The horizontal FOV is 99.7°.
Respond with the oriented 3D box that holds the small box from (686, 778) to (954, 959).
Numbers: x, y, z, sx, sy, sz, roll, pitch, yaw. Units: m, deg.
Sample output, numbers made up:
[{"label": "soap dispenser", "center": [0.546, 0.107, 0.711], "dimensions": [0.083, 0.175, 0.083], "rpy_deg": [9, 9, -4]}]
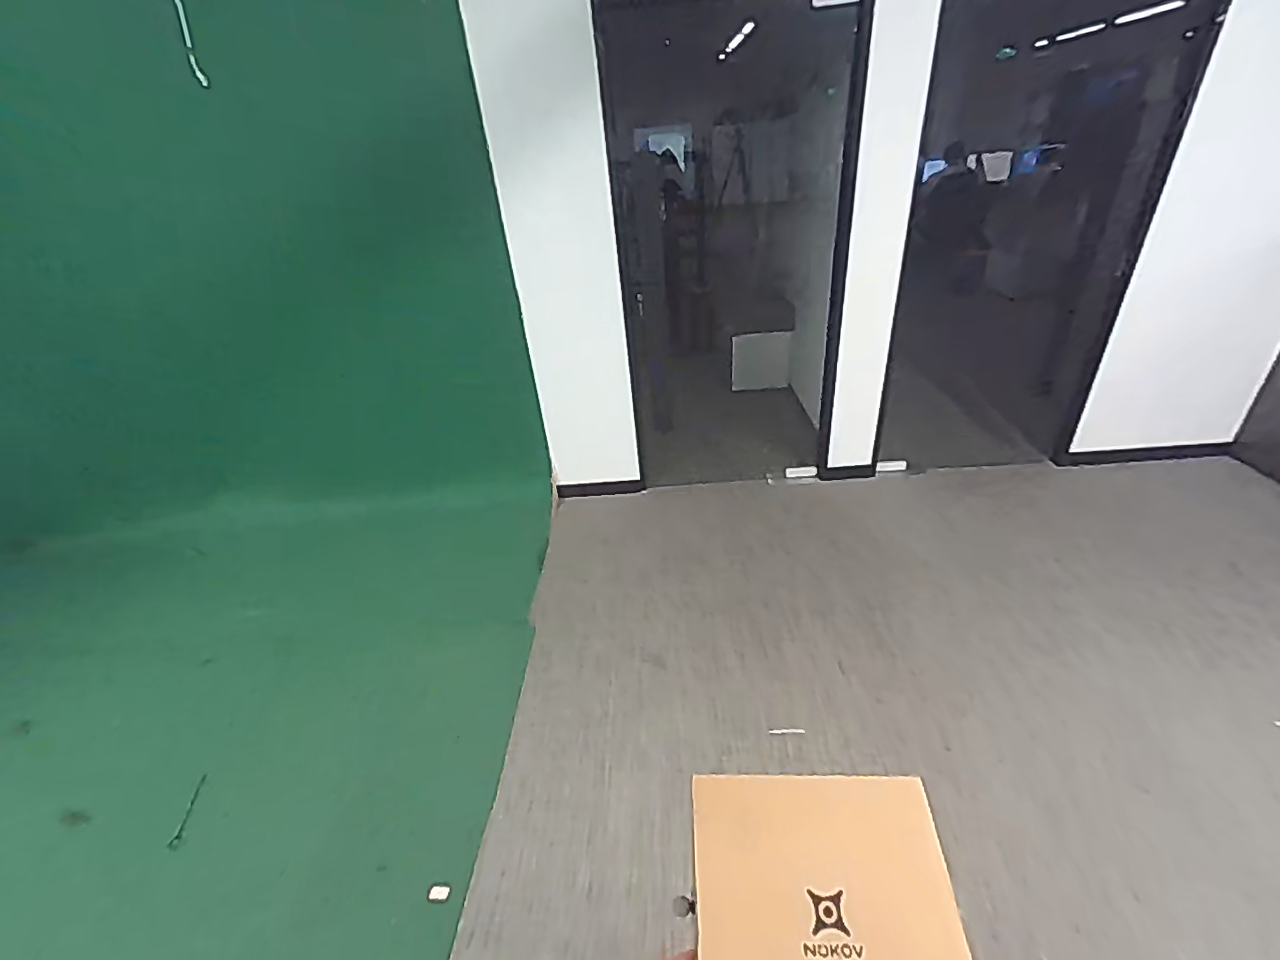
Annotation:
[{"label": "small box", "center": [0.118, 0.342, 0.407], "dimensions": [0.168, 0.176, 0.179], "rpy_deg": [-2, 50, 5]}]
